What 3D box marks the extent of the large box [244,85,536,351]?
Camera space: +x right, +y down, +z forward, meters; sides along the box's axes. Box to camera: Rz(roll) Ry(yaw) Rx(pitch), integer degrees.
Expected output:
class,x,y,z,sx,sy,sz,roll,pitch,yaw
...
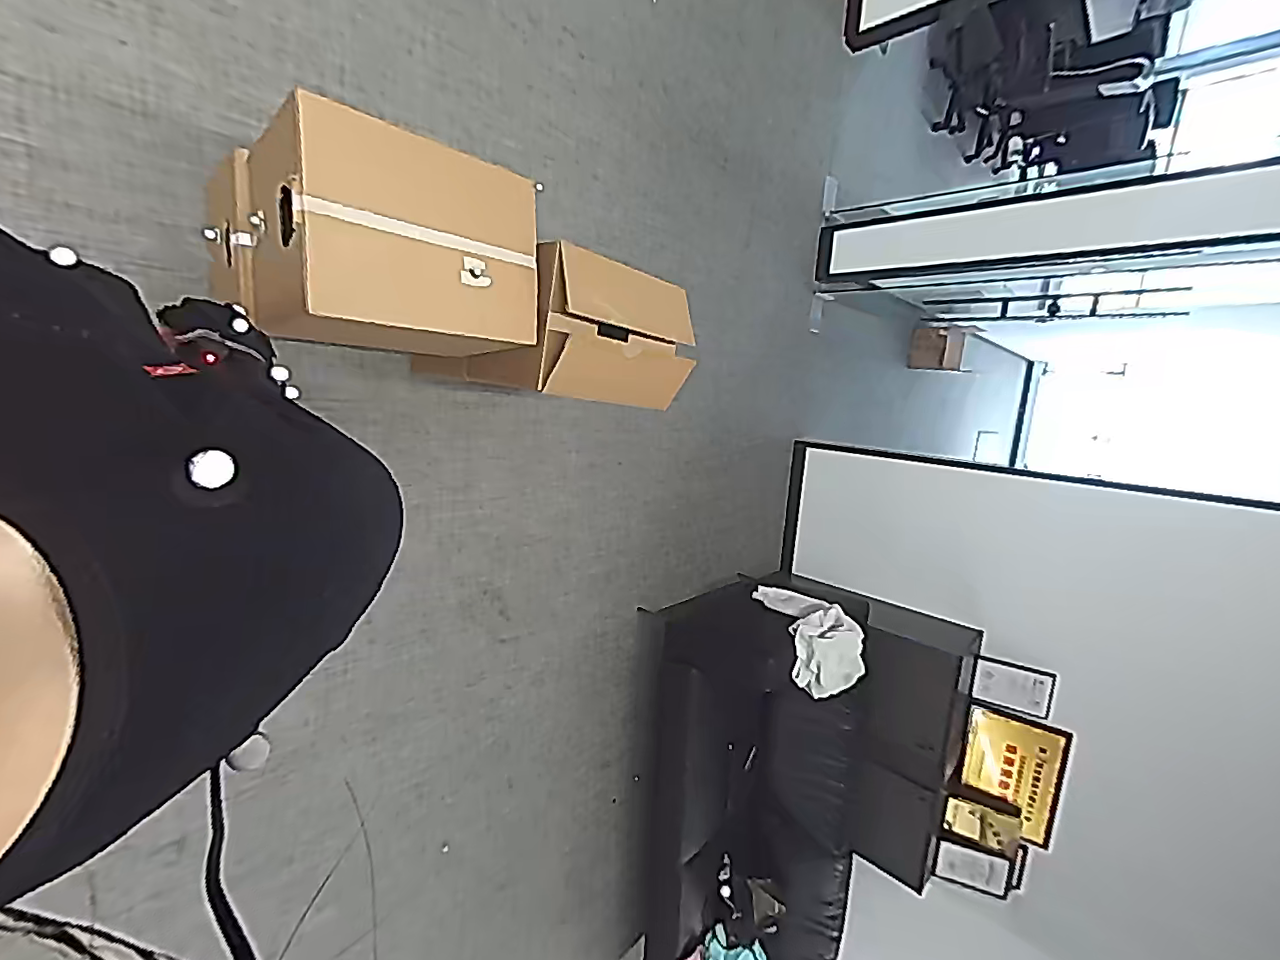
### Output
class,x,y,z,sx,sy,sz,roll,pitch,yaw
large box,-0.448,-0.423,1.001,0.408,0.320,0.320,-5,100,-47
